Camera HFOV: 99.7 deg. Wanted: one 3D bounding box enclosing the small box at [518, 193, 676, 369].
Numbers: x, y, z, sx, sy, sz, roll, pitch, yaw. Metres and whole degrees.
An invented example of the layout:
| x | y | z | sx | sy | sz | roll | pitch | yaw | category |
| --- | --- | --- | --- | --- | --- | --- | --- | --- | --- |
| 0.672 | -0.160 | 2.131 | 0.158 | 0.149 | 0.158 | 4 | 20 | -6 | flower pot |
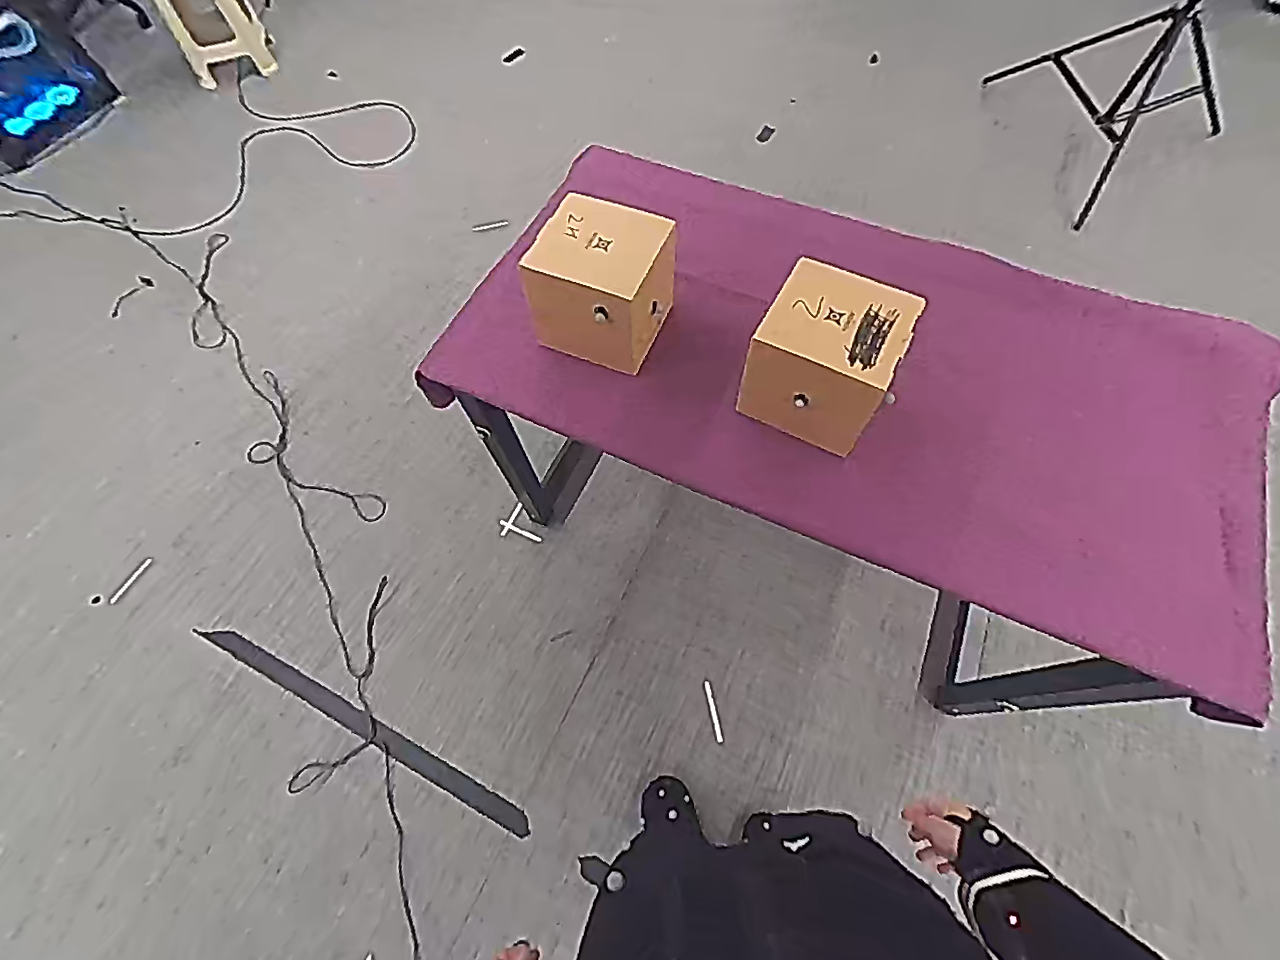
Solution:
| x | y | z | sx | sy | sz | roll | pitch | yaw | category |
| --- | --- | --- | --- | --- | --- | --- | --- | --- | --- |
| -0.056 | -0.296 | 0.831 | 0.179 | 0.176 | 0.168 | 20 | 65 | 11 | small box |
